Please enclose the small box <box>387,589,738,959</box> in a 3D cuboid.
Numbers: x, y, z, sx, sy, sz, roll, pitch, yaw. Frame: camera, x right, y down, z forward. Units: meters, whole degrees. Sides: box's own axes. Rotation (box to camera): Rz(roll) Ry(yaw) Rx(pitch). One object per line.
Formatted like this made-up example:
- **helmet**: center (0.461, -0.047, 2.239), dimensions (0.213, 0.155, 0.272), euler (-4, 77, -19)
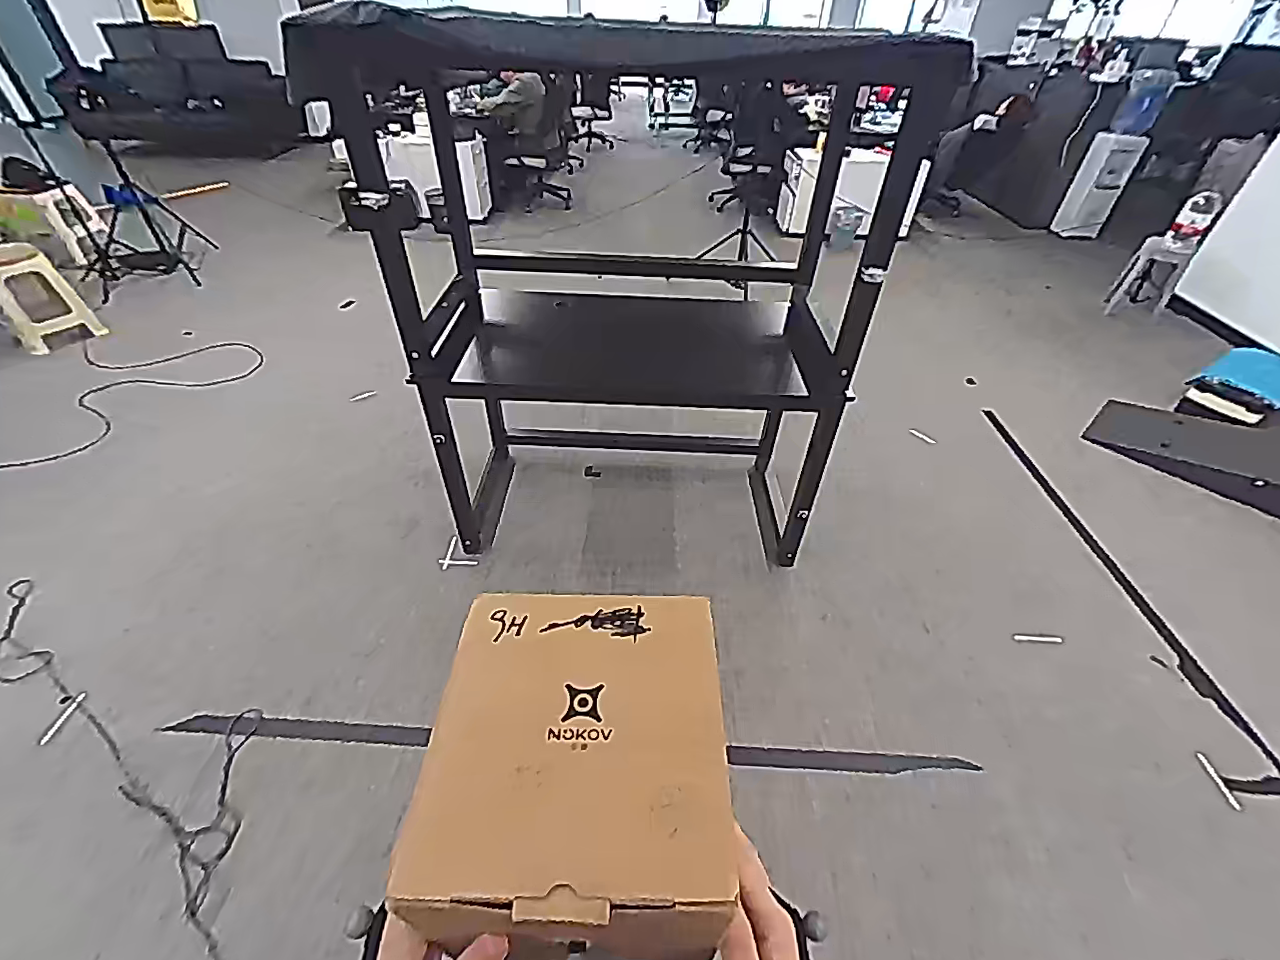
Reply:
- **small box**: center (-0.033, 0.193, 0.359), dimensions (0.168, 0.176, 0.179), euler (1, 41, 0)
